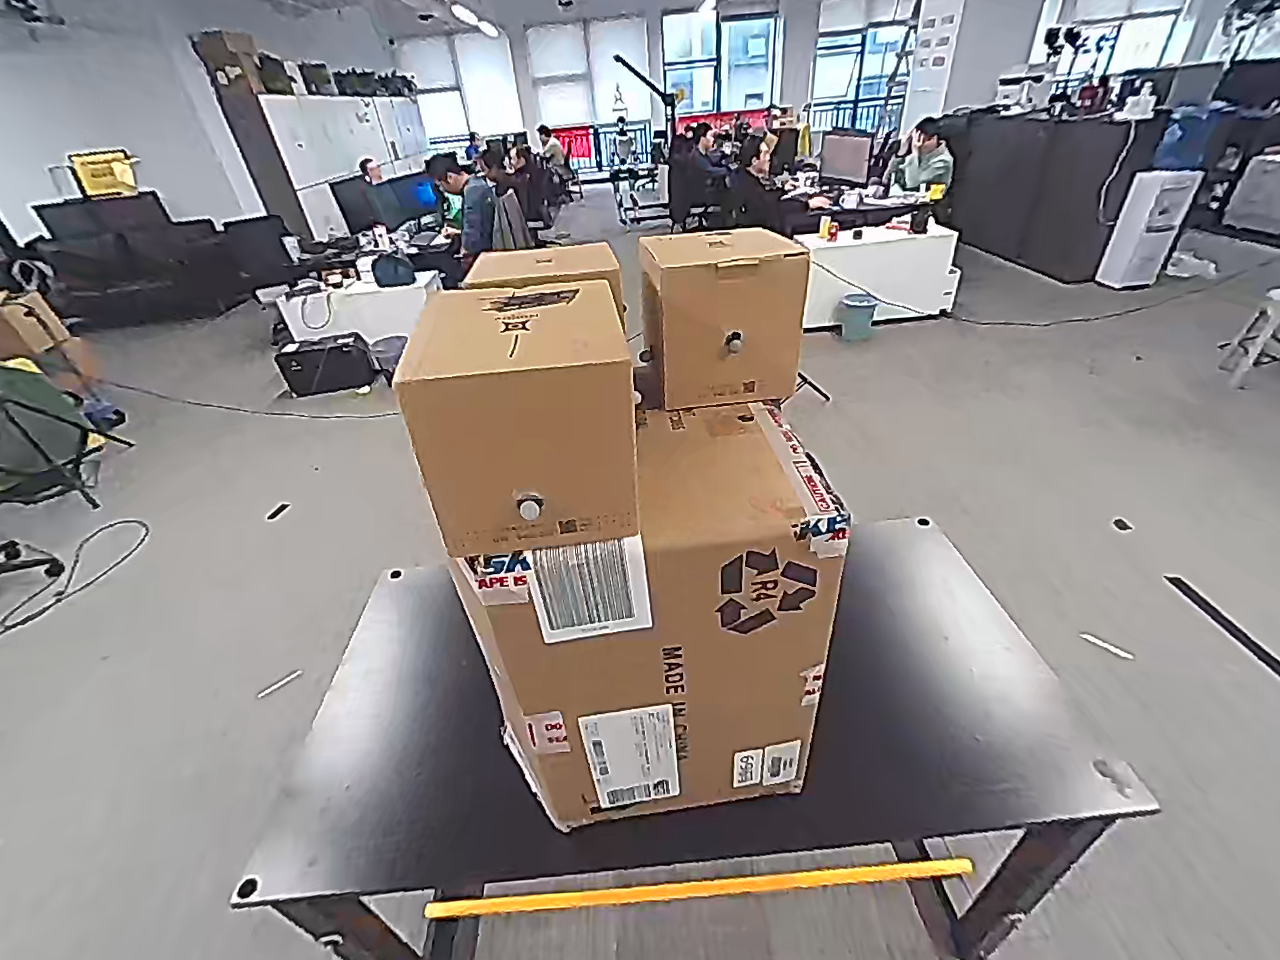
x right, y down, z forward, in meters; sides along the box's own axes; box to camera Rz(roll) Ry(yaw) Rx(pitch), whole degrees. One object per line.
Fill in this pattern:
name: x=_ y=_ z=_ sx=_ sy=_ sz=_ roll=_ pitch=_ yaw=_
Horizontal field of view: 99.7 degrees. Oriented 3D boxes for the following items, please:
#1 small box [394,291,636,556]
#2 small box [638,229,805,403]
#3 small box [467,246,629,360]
small box: x=-0.096 y=-0.056 z=0.487 sx=0.168 sy=0.176 sz=0.179 roll=-7 pitch=37 yaw=-5
small box: x=0.092 y=-0.205 z=0.683 sx=0.168 sy=0.176 sz=0.179 roll=-6 pitch=35 yaw=-5
small box: x=-0.106 y=-0.184 z=0.677 sx=0.168 sy=0.176 sz=0.179 roll=-9 pitch=34 yaw=-5
